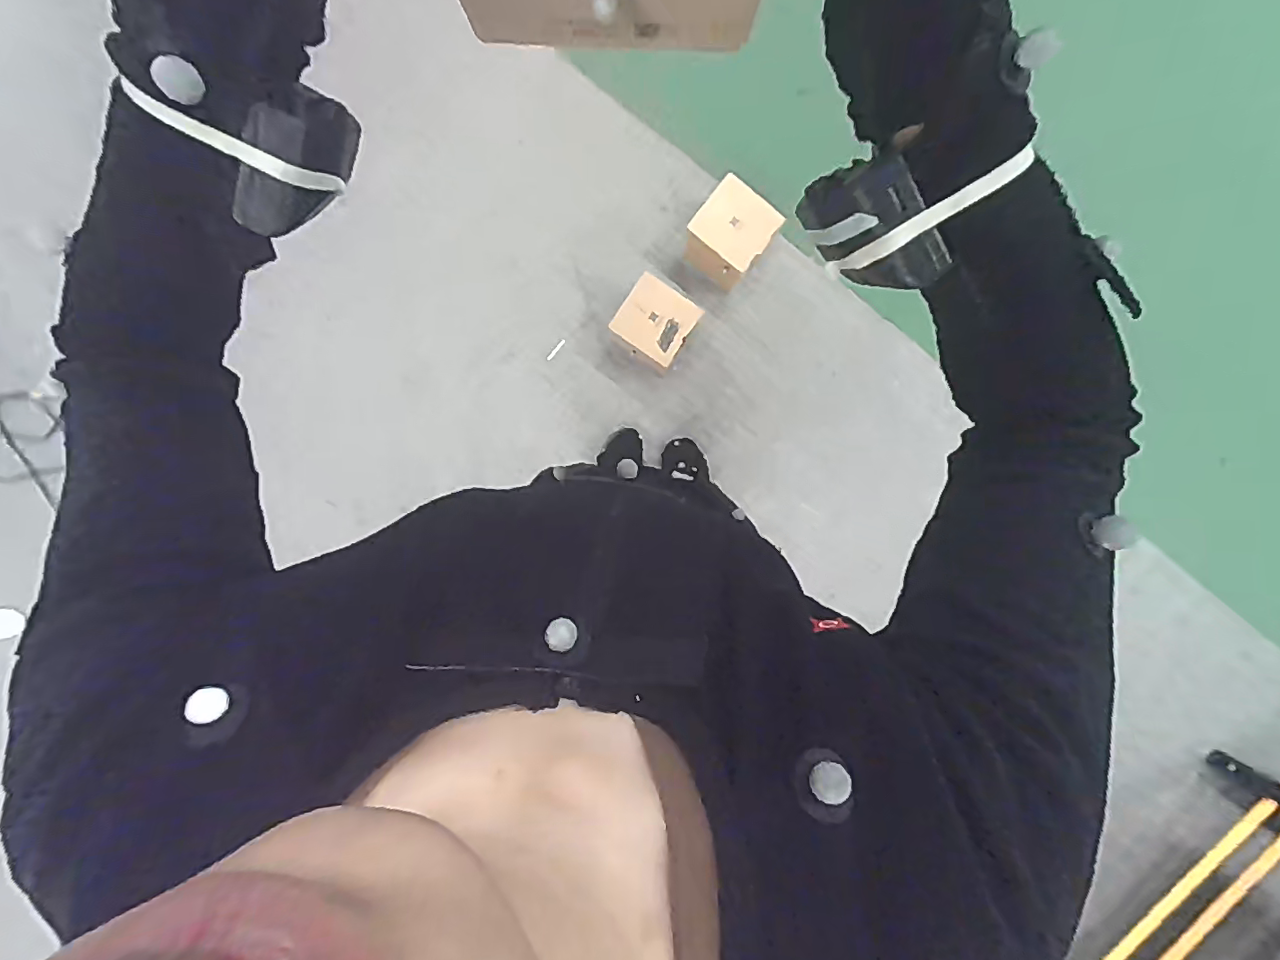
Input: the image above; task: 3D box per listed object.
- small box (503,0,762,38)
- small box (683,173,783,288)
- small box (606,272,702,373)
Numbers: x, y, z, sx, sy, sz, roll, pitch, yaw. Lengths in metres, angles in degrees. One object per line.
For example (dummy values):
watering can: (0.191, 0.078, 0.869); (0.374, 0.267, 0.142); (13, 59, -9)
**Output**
small box: (-0.005, -0.347, 0.235); (0.168, 0.176, 0.179); (3, 101, -1)
small box: (0.222, -0.612, 1.354); (0.179, 0.176, 0.168); (38, 94, -2)
small box: (0.035, -0.387, 1.368); (0.179, 0.176, 0.168); (34, 93, -1)
